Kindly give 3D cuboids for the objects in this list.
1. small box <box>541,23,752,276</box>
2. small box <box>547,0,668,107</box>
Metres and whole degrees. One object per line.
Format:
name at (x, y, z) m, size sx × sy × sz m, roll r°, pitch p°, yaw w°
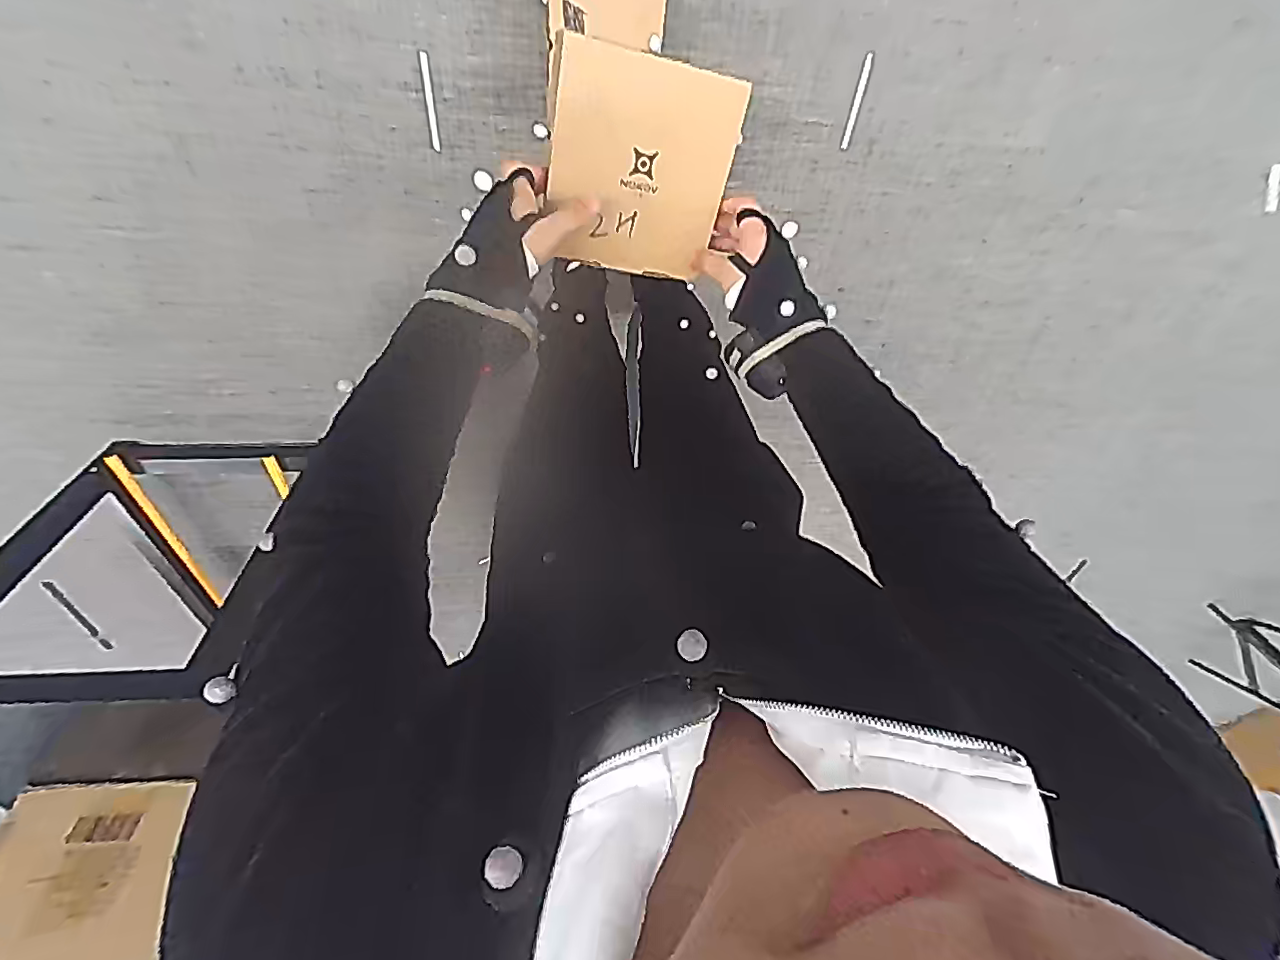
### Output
small box at (-0.010, -0.339, 0.560) m, size 0.168 × 0.176 × 0.179 m, roll 5°, pitch 128°, yaw -15°
small box at (-0.059, -0.706, 0.885) m, size 0.179 × 0.176 × 0.168 m, roll 2°, pitch 132°, yaw -8°
